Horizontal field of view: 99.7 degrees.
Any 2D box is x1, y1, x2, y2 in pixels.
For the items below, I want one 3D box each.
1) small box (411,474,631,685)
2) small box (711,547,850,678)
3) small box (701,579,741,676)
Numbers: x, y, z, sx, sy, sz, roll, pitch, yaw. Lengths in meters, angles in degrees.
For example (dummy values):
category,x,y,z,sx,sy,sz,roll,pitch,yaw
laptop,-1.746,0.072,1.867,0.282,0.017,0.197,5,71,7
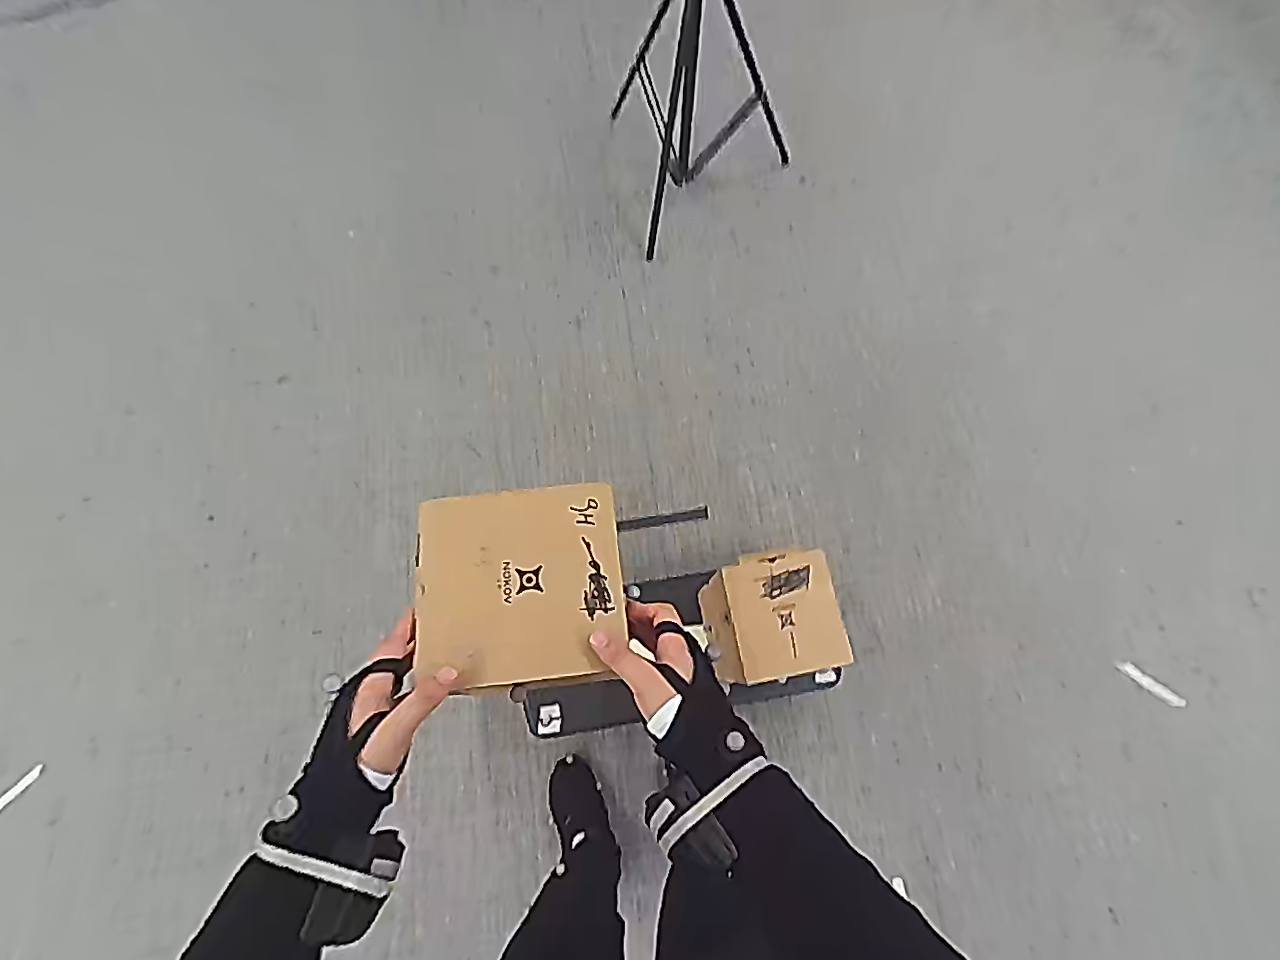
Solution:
category,x,y,z,sx,sy,sz,roll,pitch,yaw
small box,-0.104,0.106,0.530,0.179,0.176,0.168,-6,71,-3
small box,0.221,0.224,0.905,0.168,0.176,0.179,-11,73,-2
small box,0.215,0.279,1.059,0.168,0.176,0.179,-10,73,-2
